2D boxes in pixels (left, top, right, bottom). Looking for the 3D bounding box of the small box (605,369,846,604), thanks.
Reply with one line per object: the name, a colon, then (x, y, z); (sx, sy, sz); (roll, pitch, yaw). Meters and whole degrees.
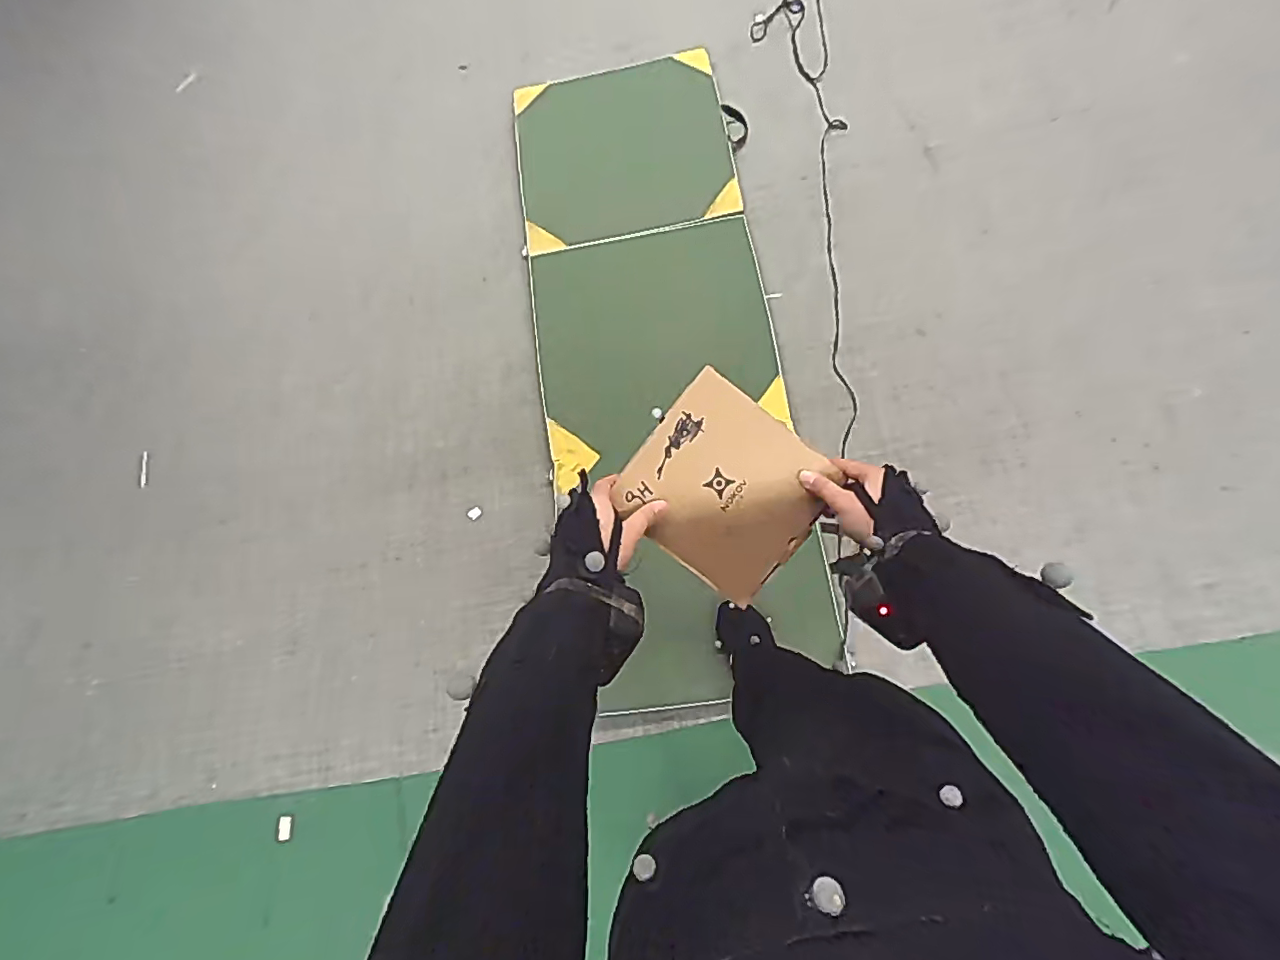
small box: (0.083, 0.001, 0.598); (0.179, 0.176, 0.168); (38, 93, -2)
